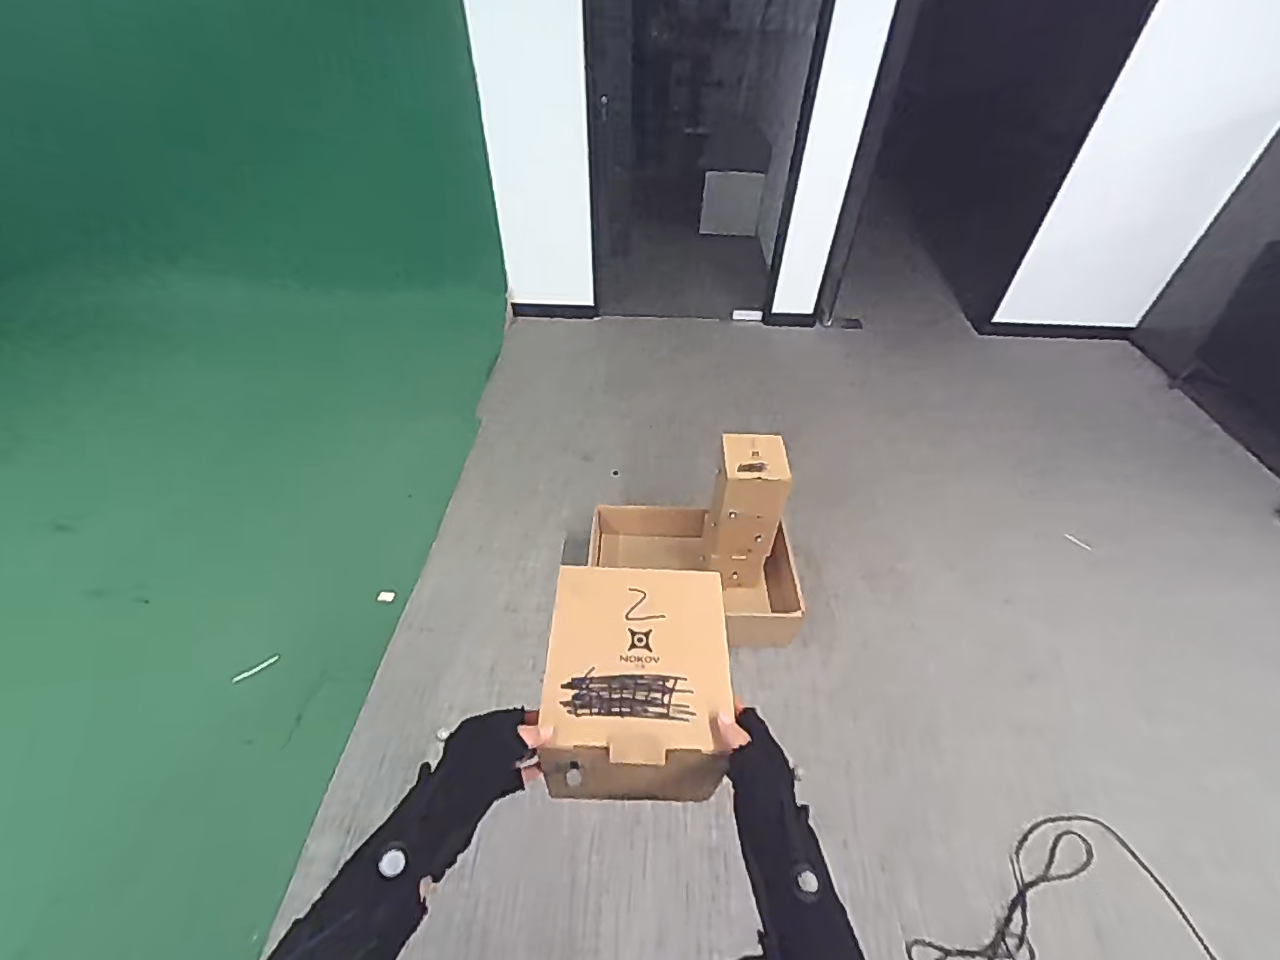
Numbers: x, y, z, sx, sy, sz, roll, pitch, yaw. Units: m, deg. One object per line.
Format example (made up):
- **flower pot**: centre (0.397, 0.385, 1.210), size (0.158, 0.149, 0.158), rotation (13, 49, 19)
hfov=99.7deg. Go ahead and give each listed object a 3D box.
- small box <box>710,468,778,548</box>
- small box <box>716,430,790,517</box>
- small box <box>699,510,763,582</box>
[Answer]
- **small box**: centre (0.298, 0.083, 1.581), size (0.168, 0.176, 0.179), rotation (1, 45, 0)
- **small box**: centre (0.299, -0.016, 1.472), size (0.168, 0.176, 0.179), rotation (2, 45, 0)
- **small box**: centre (0.282, 0.211, 1.710), size (0.168, 0.176, 0.179), rotation (-3, 45, -2)
